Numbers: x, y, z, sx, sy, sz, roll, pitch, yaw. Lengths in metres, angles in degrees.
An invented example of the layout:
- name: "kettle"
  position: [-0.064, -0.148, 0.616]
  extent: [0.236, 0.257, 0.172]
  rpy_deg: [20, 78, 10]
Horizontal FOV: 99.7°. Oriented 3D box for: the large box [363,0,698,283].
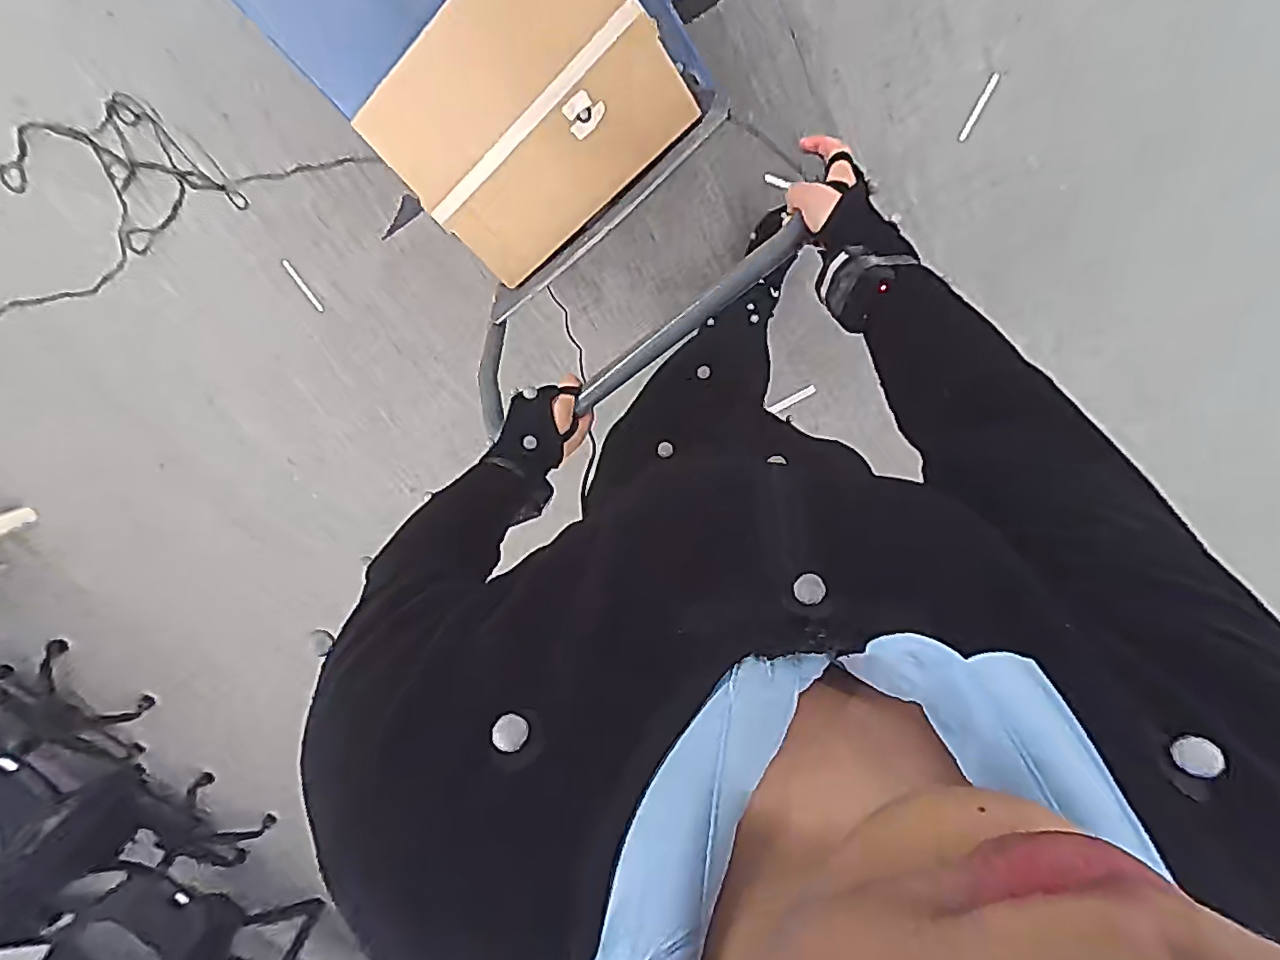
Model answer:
- name: "large box"
  position: [-0.171, -0.621, 0.907]
  extent: [0.408, 0.320, 0.320]
  rpy_deg: [-36, 123, 19]
